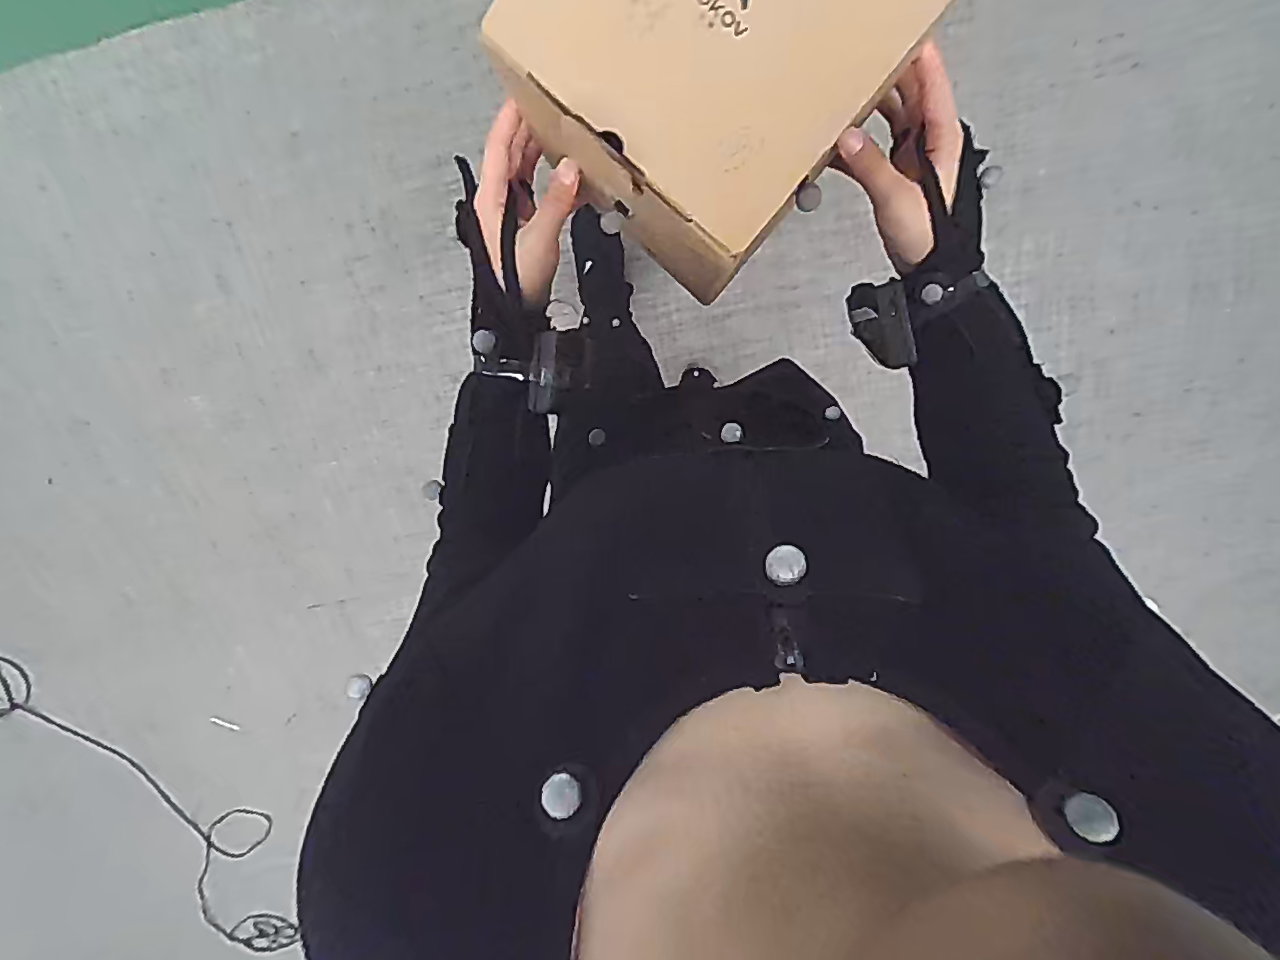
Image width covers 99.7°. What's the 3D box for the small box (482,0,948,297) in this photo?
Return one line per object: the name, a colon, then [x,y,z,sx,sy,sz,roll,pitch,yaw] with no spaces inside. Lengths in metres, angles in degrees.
small box: [0.042,-0.239,0.335,0.168,0.176,0.179,40,100,-4]
